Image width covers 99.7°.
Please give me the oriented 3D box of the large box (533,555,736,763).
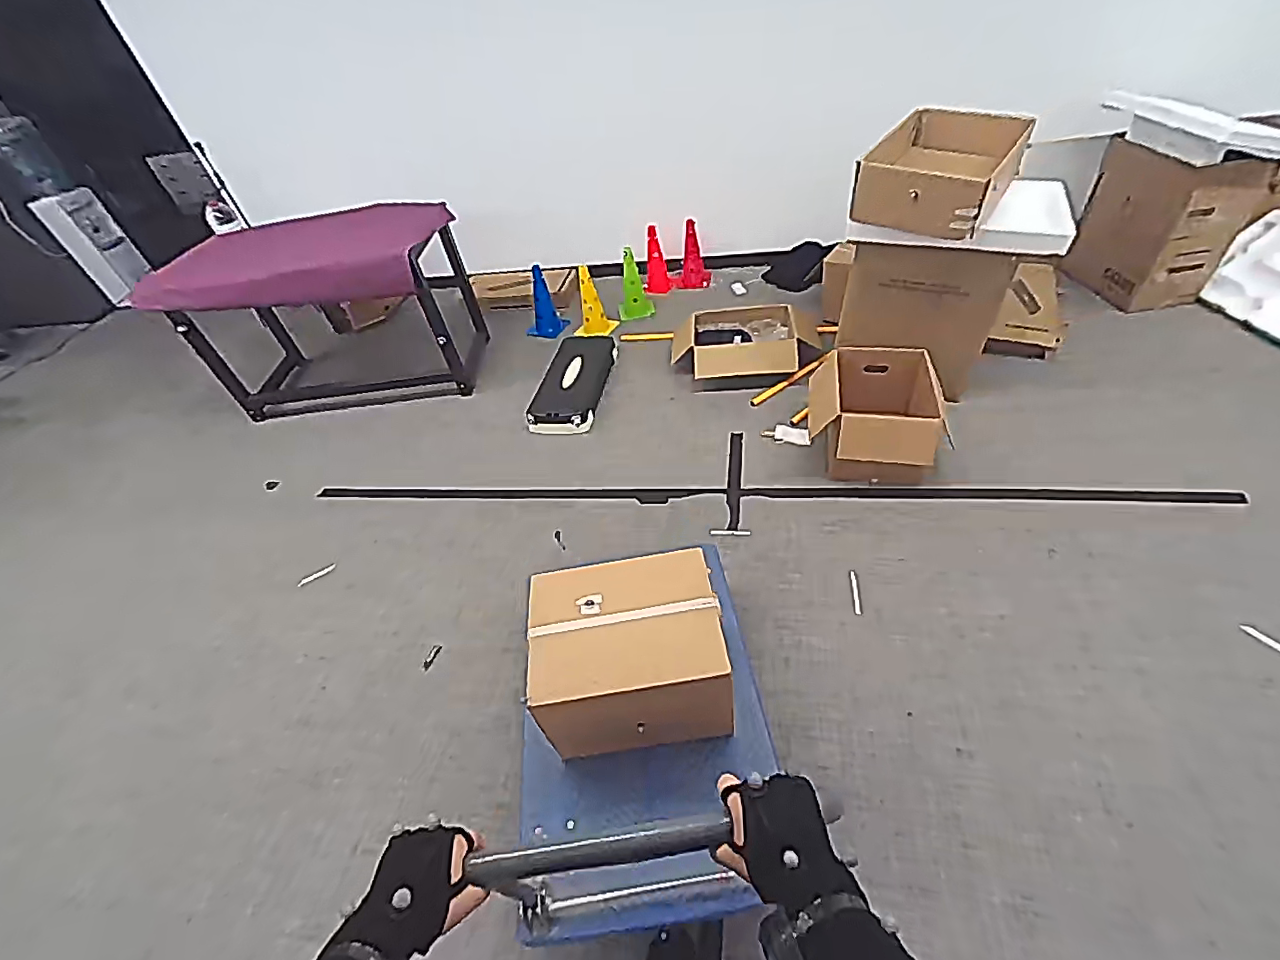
[{"bbox_3d":[-0.011,0.421,1.265,0.408,0.320,0.320,-11,43,1],"label":"large box"}]
